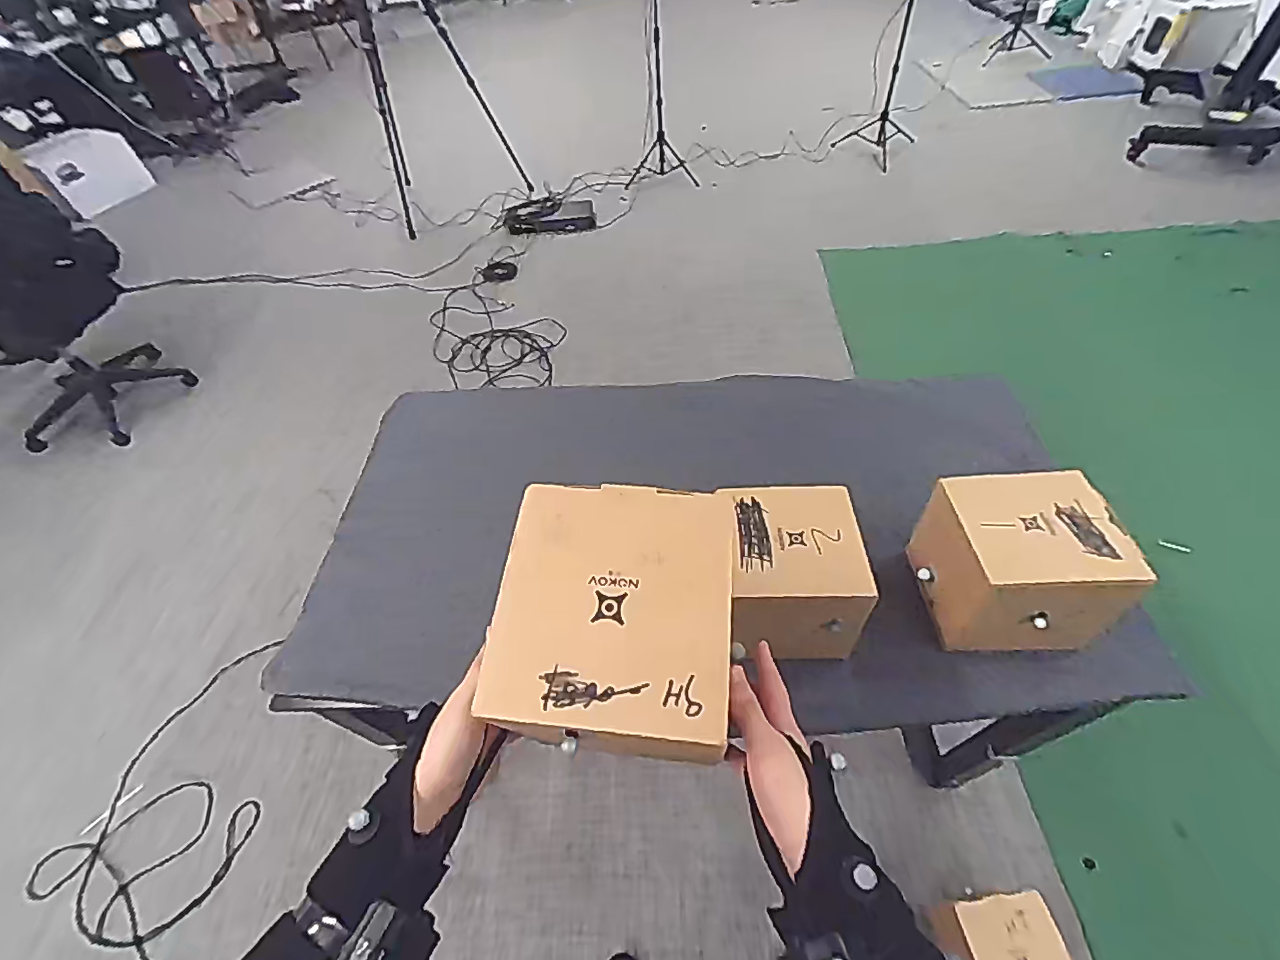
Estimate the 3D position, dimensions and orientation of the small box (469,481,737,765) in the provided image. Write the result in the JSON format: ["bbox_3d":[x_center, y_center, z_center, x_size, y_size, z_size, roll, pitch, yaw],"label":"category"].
[{"bbox_3d":[-0.012,0.121,0.444,0.168,0.176,0.179,3,59,9],"label":"small box"}]

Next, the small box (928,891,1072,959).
[{"bbox_3d":[0.671,0.881,1.001,0.168,0.176,0.179,-8,51,-1],"label":"small box"}]

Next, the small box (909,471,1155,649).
[{"bbox_3d":[0.479,0.106,0.698,0.179,0.176,0.168,-3,47,6],"label":"small box"}]
